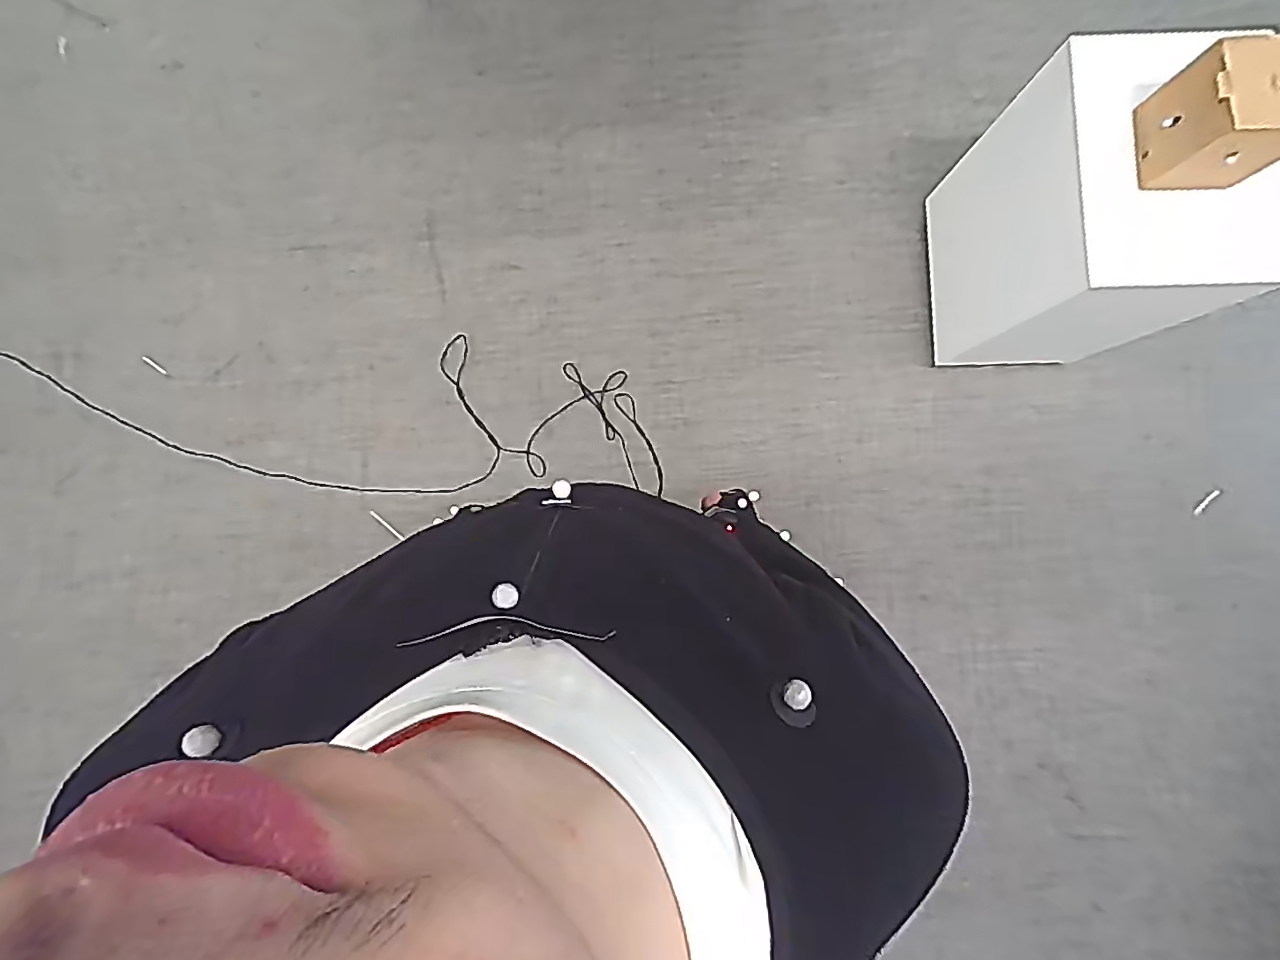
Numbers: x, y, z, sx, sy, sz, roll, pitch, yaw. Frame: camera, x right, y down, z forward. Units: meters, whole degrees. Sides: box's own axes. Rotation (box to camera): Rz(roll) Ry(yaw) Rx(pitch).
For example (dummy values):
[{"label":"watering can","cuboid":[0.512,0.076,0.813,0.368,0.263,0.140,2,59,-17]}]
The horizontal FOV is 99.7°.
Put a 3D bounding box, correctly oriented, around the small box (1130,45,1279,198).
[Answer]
[{"label":"small box","cuboid":[1.036,-0.634,0.973,0.179,0.176,0.168,-4,85,-1]}]
